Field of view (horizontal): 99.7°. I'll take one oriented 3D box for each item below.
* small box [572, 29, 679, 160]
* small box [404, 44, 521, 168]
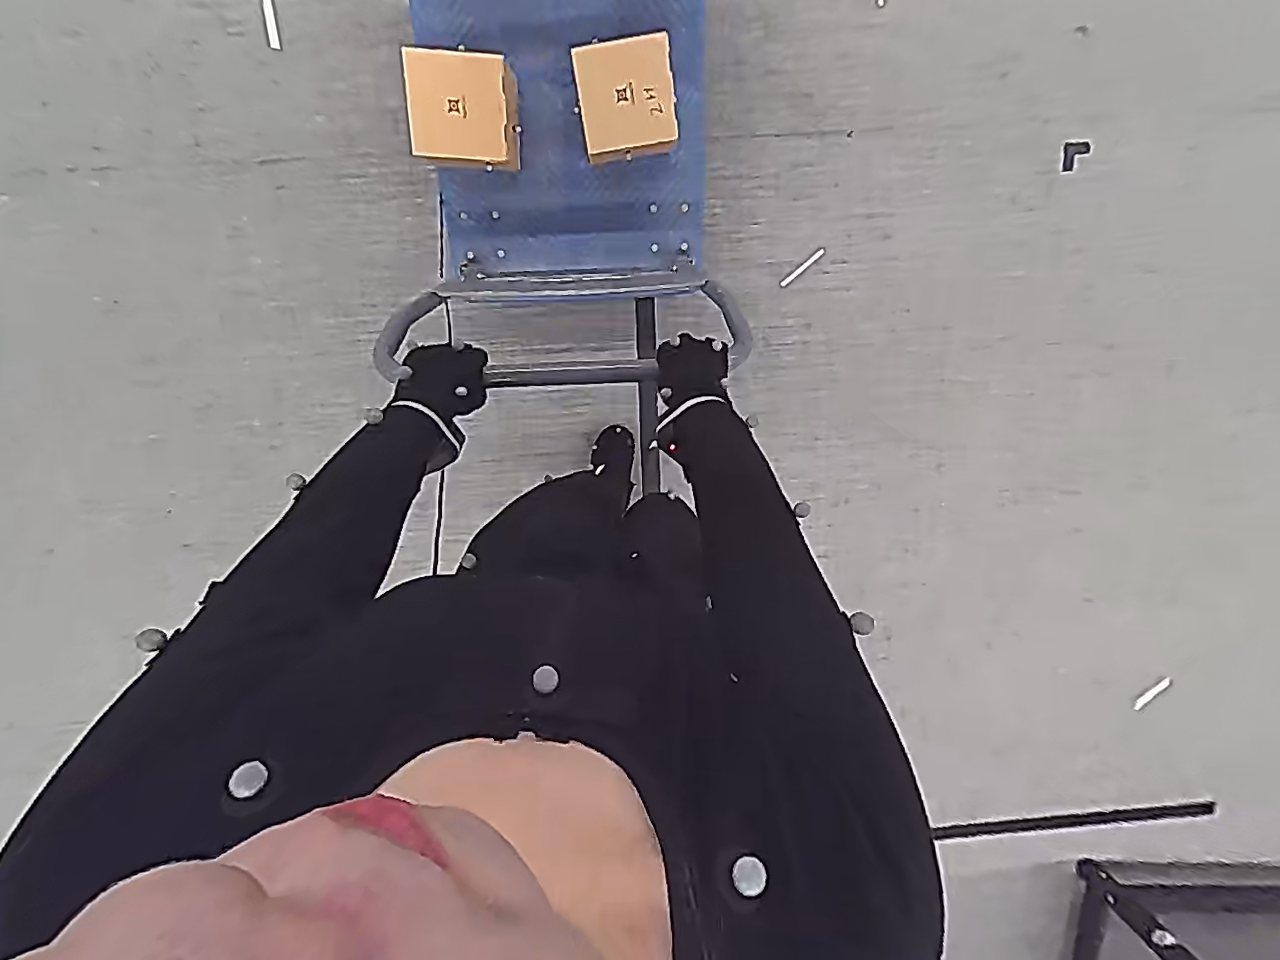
[{"bbox_3d":[-0.026,-0.736,1.052,0.179,0.176,0.168,-9,115,1],"label":"small box"},{"bbox_3d":[-0.333,-0.712,1.049,0.179,0.176,0.168,1,114,-5],"label":"small box"}]
